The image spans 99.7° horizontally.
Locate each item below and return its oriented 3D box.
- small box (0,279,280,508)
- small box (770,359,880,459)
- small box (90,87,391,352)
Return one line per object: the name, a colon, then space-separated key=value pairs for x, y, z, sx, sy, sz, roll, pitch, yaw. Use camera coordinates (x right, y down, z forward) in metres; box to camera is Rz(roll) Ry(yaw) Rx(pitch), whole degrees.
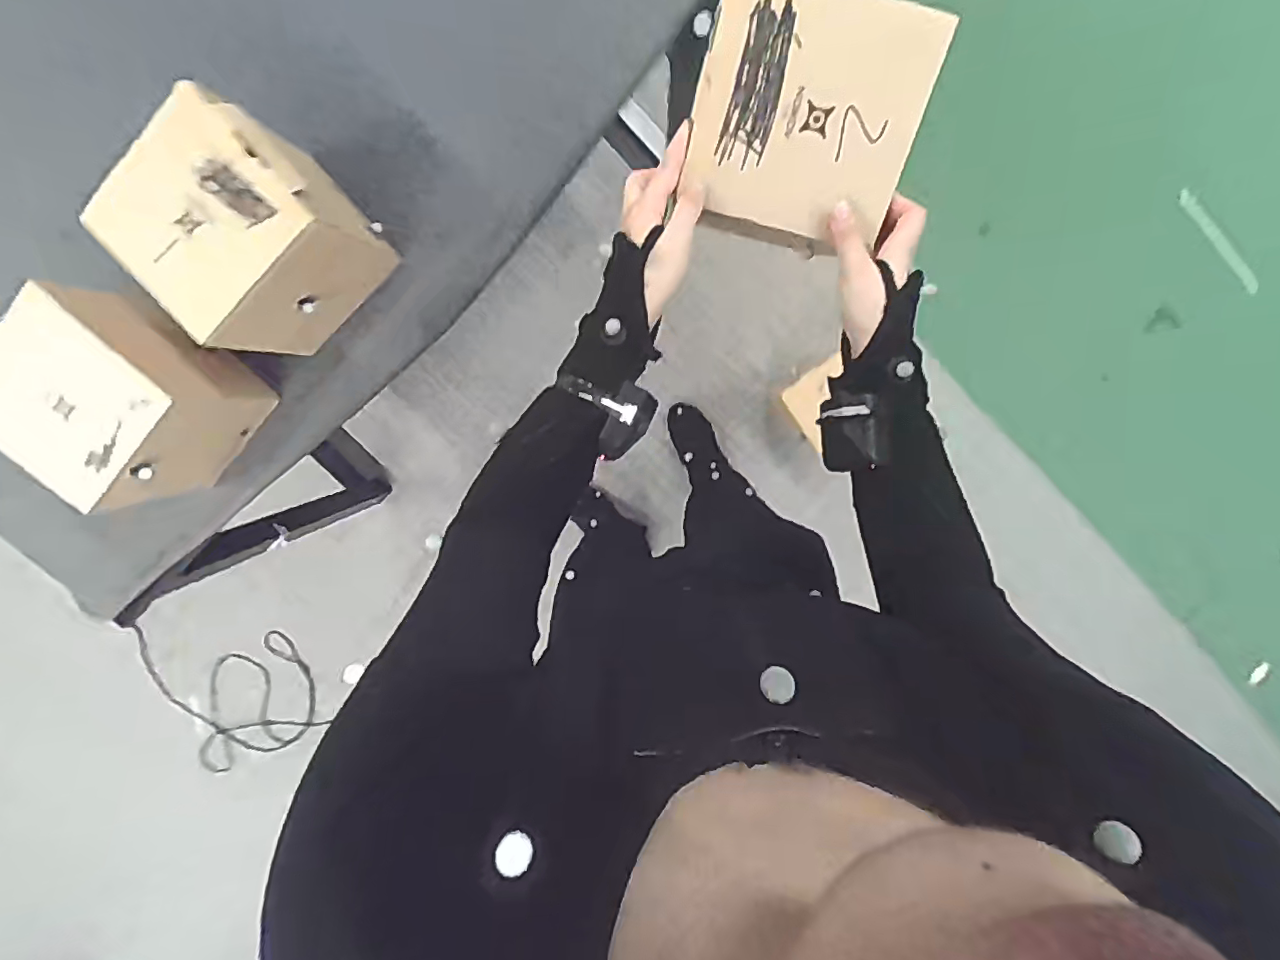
small box: x=-0.581 y=-0.095 z=0.627 sx=0.179 sy=0.176 sz=0.168 roll=44 pitch=99 yaw=-5
small box: x=0.444 y=-0.177 z=1.320 sx=0.168 sy=0.176 sz=0.179 roll=-35 pitch=97 yaw=7
small box: x=-0.409 y=-0.261 z=0.593 sx=0.179 sy=0.176 sz=0.168 roll=-40 pitch=94 yaw=10
